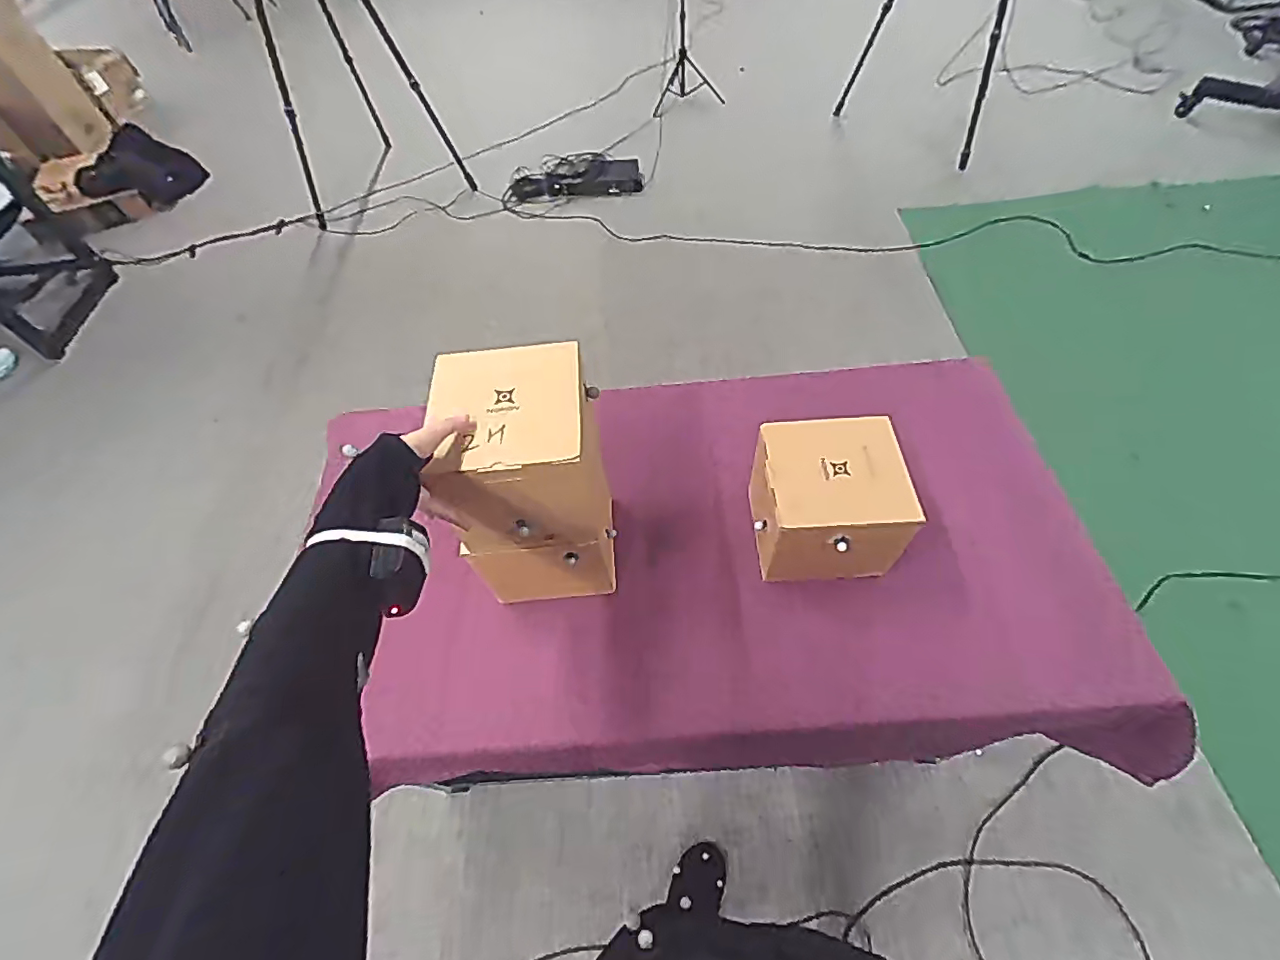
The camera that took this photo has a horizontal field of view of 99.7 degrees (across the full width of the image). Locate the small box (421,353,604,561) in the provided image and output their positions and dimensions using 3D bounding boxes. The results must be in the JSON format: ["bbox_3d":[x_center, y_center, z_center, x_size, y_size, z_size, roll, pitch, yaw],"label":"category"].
[{"bbox_3d":[-0.137,-0.024,0.647,0.168,0.176,0.179,-7,55,1],"label":"small box"}]

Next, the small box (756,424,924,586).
[{"bbox_3d":[0.261,0.041,0.761,0.179,0.176,0.168,-3,56,3],"label":"small box"}]

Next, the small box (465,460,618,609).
[{"bbox_3d":[-0.131,0.075,0.778,0.179,0.176,0.168,-6,55,0],"label":"small box"}]
